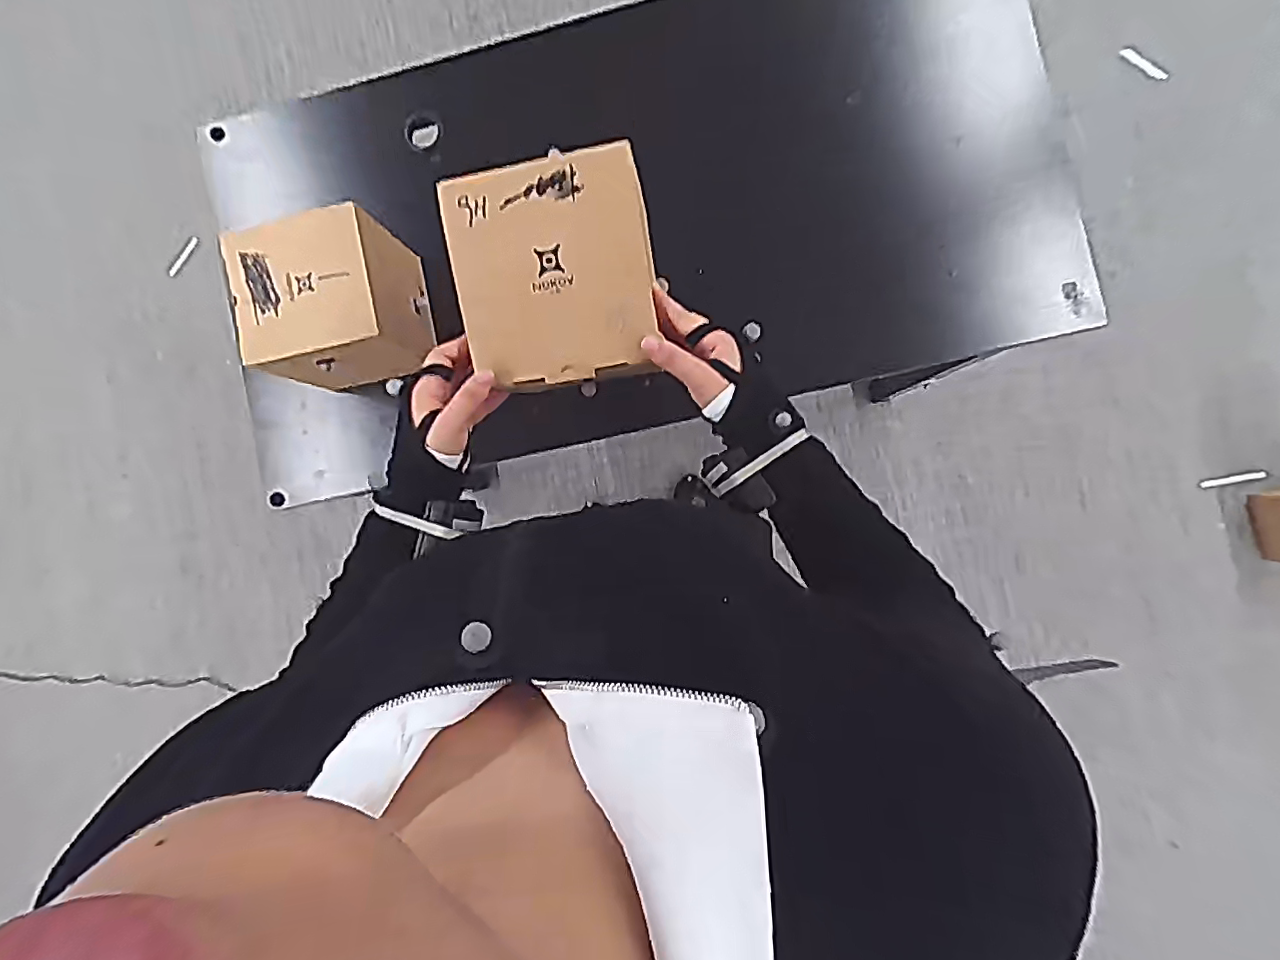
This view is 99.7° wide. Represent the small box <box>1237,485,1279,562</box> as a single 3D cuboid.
[{"bbox_3d":[1.607,0.102,1.290,0.168,0.176,0.179,-13,88,4],"label":"small box"}]

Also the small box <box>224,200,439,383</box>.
[{"bbox_3d":[-0.400,-0.236,0.726,0.179,0.176,0.168,-11,89,3],"label":"small box"}]

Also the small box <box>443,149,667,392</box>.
[{"bbox_3d":[-0.067,-0.189,0.539,0.168,0.176,0.179,-9,100,6],"label":"small box"}]
